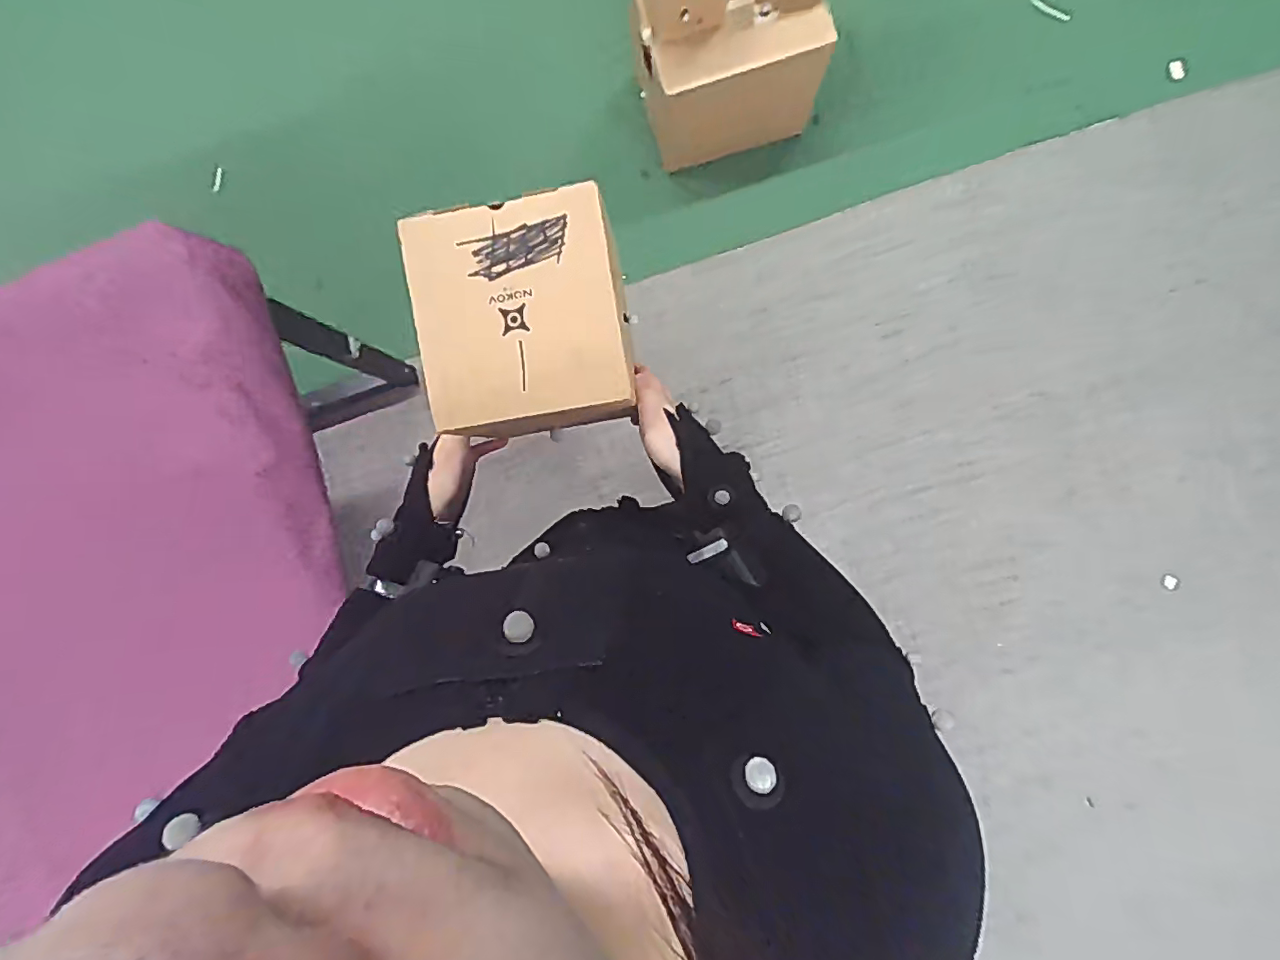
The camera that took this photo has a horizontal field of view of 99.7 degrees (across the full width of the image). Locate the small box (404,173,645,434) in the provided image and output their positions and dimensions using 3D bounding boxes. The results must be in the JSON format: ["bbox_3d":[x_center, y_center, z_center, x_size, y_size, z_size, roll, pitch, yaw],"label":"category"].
[{"bbox_3d":[-0.089,-0.143,0.501,0.168,0.176,0.179,-9,92,4],"label":"small box"}]

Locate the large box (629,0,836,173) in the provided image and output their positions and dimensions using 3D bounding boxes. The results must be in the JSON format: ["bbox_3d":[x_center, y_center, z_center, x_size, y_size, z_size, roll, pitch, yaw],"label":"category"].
[{"bbox_3d":[0.210,-1.057,1.361,0.408,0.320,0.320,-16,88,1],"label":"large box"}]

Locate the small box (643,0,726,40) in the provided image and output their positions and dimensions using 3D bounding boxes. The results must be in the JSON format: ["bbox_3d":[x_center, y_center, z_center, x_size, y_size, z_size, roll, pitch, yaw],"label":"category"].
[{"bbox_3d":[0.083,-1.082,1.126,0.168,0.176,0.179,-16,88,1],"label":"small box"}]
